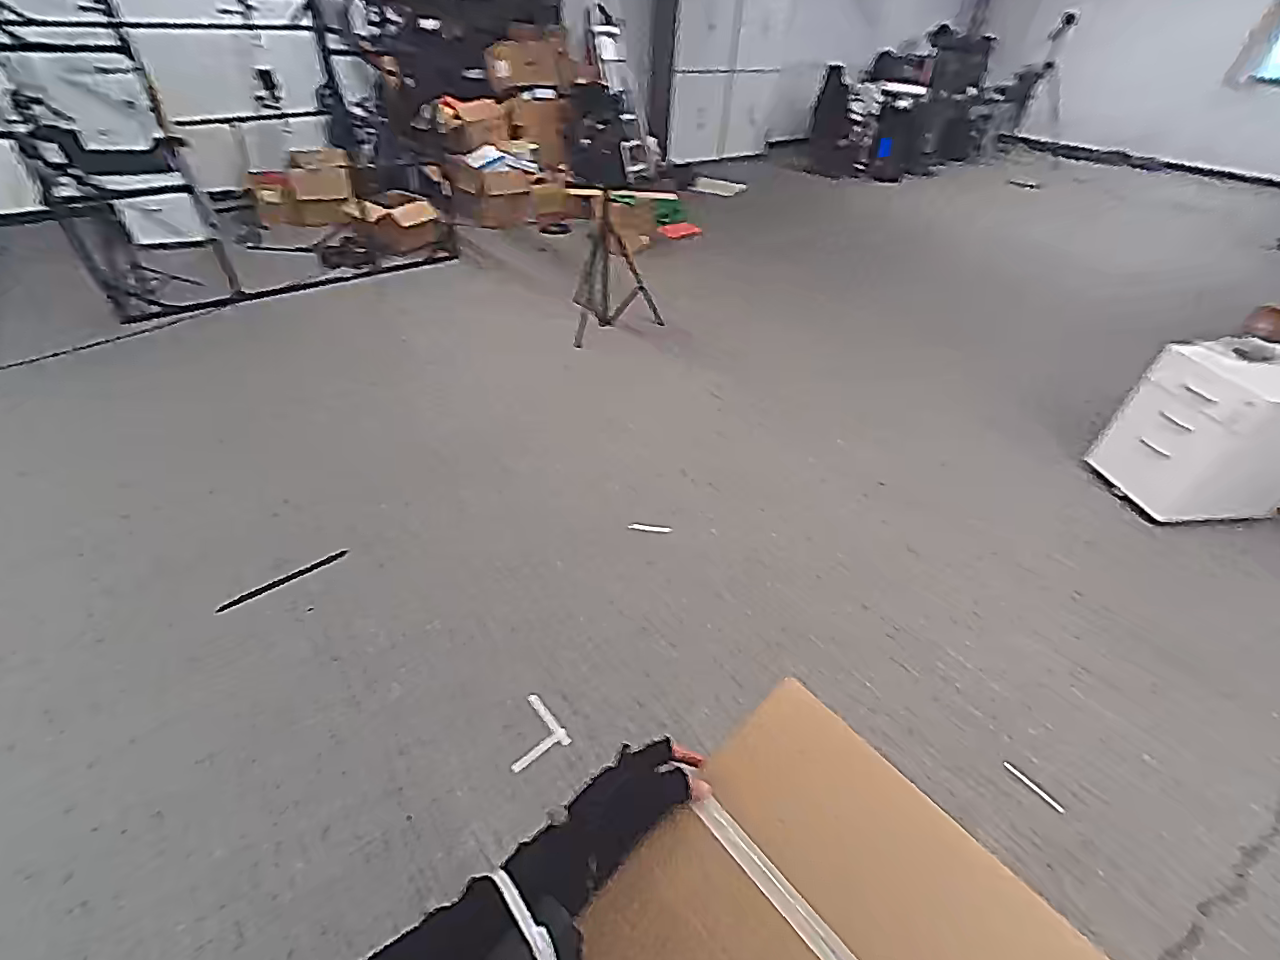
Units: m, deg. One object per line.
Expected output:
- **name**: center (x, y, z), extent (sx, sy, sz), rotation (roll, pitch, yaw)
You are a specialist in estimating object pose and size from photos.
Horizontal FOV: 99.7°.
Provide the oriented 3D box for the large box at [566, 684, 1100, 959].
- **large box**: center (0.179, 0.501, 0.540), extent (0.320, 0.320, 0.408), rotation (-36, 57, -26)
